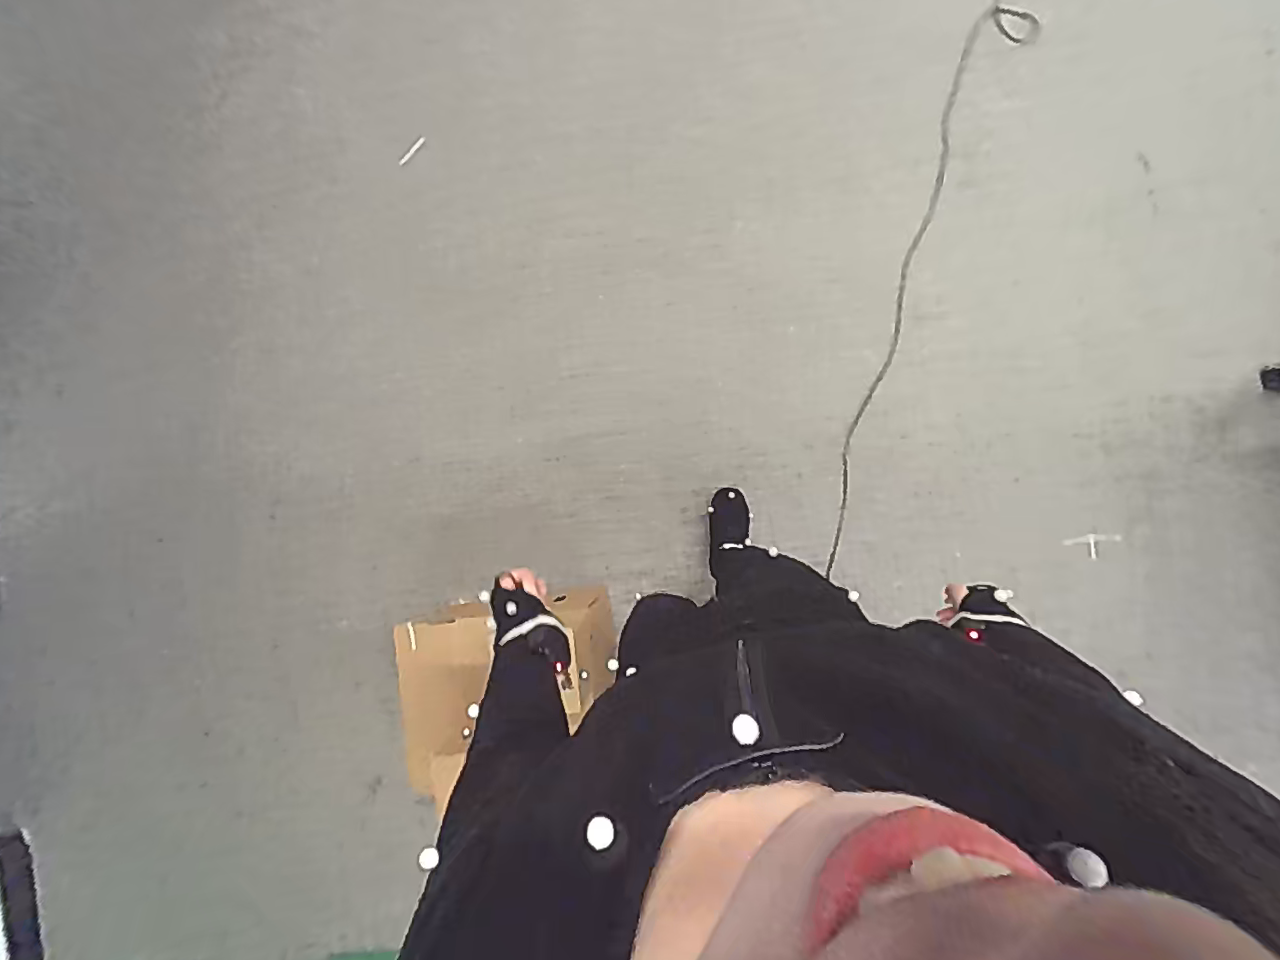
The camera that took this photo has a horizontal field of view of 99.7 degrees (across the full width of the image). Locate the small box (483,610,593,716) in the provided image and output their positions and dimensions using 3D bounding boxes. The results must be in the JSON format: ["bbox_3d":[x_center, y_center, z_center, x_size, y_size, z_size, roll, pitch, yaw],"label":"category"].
[{"bbox_3d":[-0.205,0.373,1.120,0.179,0.176,0.168,-6,89,7],"label":"small box"}]
